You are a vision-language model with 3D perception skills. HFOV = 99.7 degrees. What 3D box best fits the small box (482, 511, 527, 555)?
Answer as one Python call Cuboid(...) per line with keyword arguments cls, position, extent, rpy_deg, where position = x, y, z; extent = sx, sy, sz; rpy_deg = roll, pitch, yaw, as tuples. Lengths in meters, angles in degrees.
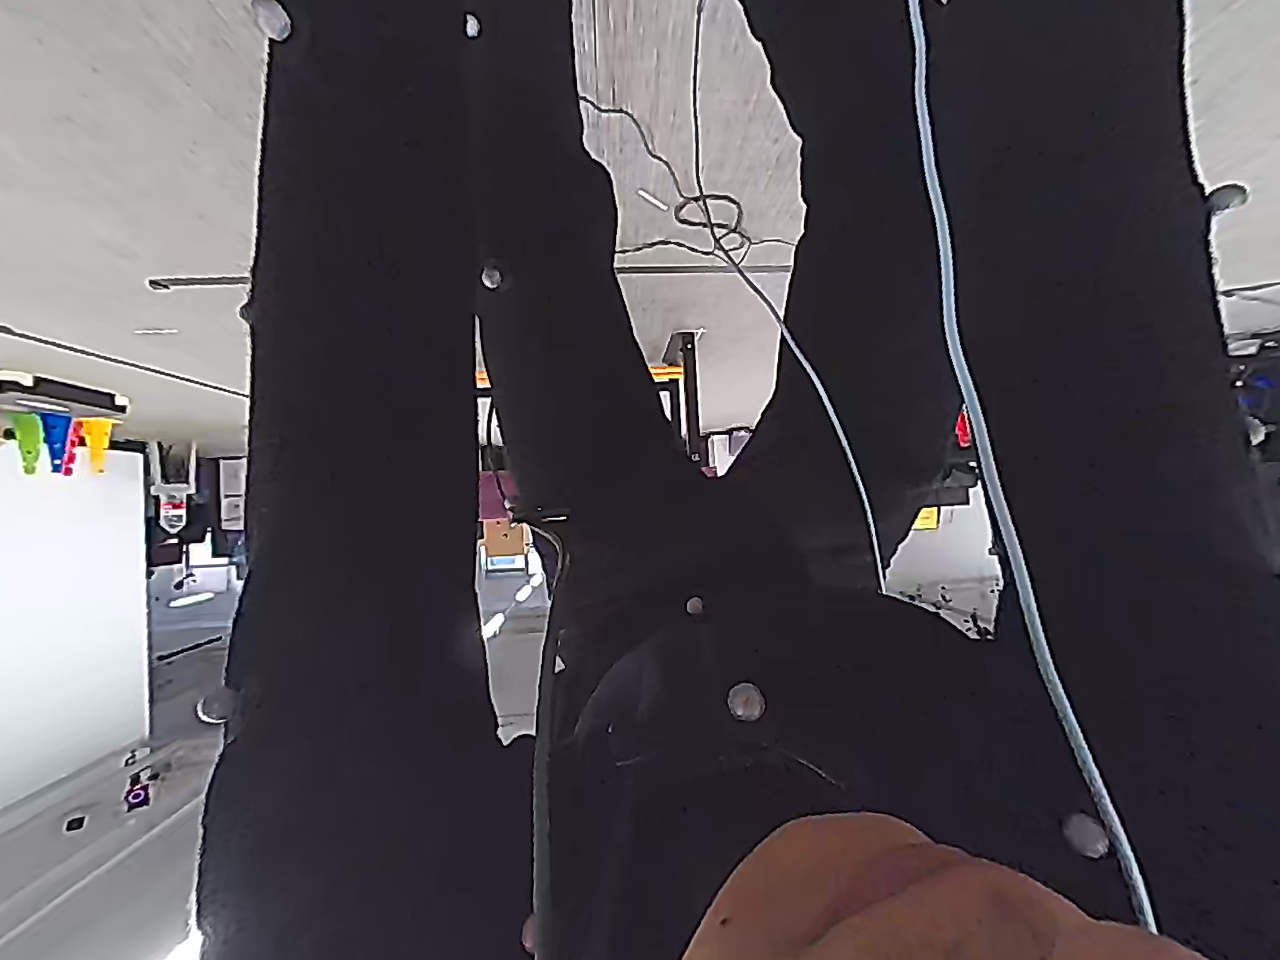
Cuboid(cls="small box", position=(-0.592, 0.229, 2.365), extent=(0.168, 0.176, 0.179), rpy_deg=(-3, 179, -4))
